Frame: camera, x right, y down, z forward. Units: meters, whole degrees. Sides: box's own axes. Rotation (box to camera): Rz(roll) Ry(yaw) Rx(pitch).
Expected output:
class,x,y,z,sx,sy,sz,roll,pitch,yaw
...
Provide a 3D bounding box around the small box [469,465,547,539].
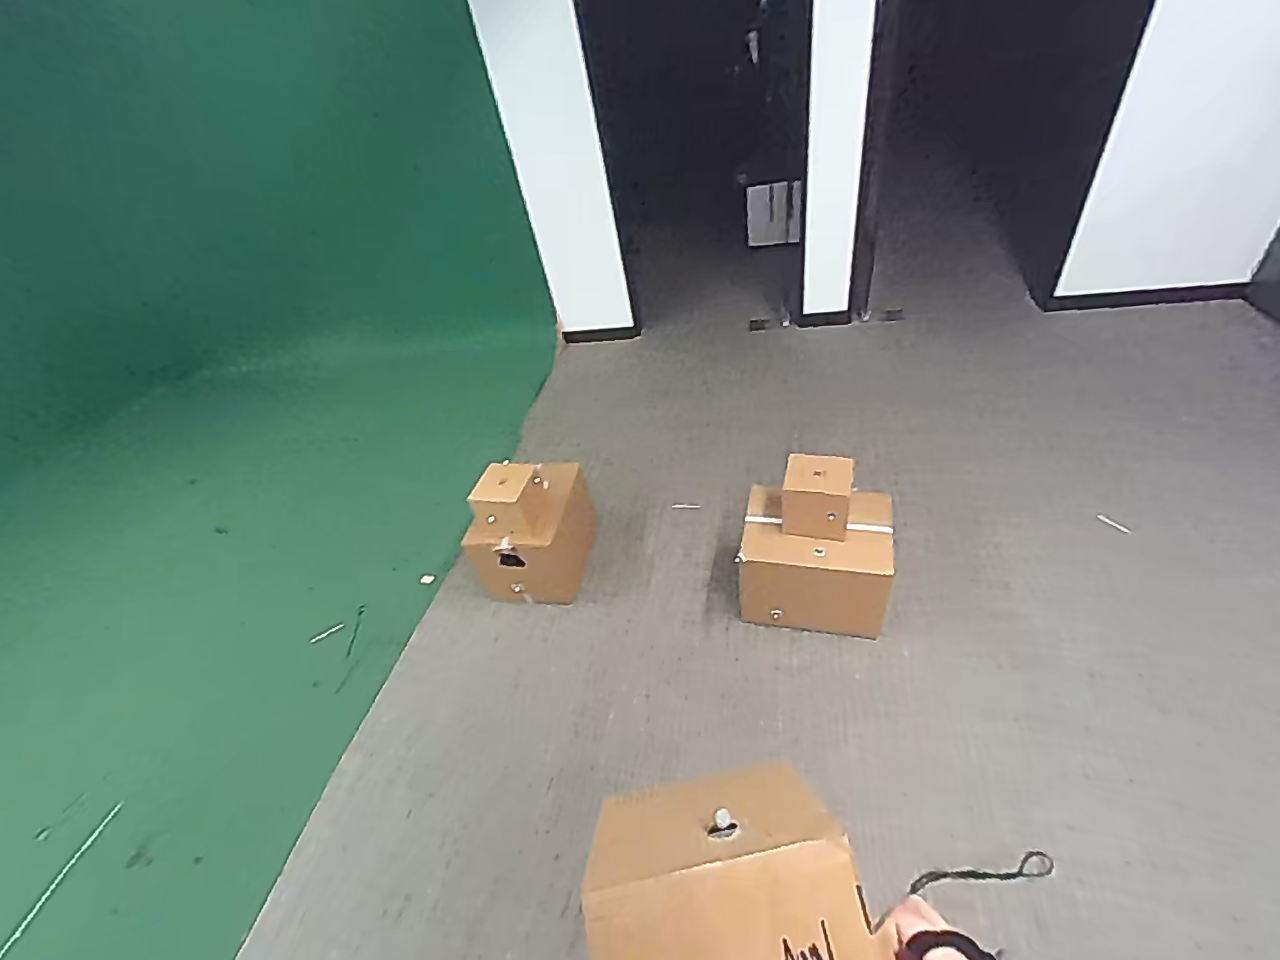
class,x,y,z,sx,sy,sz,roll,pitch,yaw
small box,-0.413,0.073,1.730,0.168,0.176,0.179,2,41,15

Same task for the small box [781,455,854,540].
class,x,y,z,sx,sy,sz,roll,pitch,yaw
small box,0.500,0.051,1.526,0.179,0.176,0.168,6,41,20

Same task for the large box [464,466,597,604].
class,x,y,z,sx,sy,sz,roll,pitch,yaw
large box,-0.372,0.197,1.955,0.320,0.320,0.408,-1,41,13
